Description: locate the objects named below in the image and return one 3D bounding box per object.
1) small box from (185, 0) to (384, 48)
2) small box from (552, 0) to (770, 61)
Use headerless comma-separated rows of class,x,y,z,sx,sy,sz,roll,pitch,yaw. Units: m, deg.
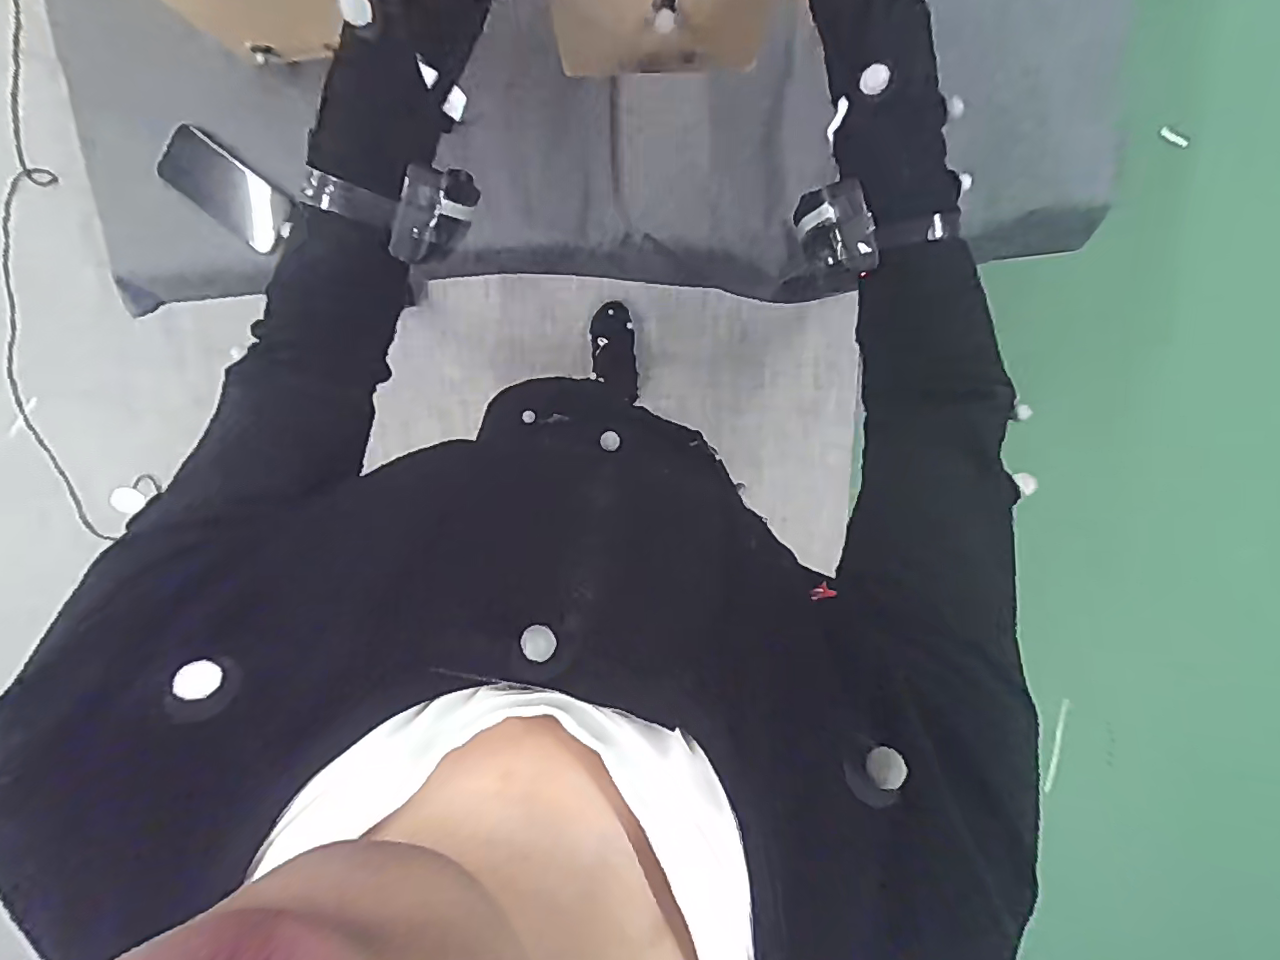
small box,-0.372,-0.555,0.519,0.168,0.176,0.179,-5,102,2
small box,0.014,-0.423,0.368,0.168,0.176,0.179,-2,98,0
